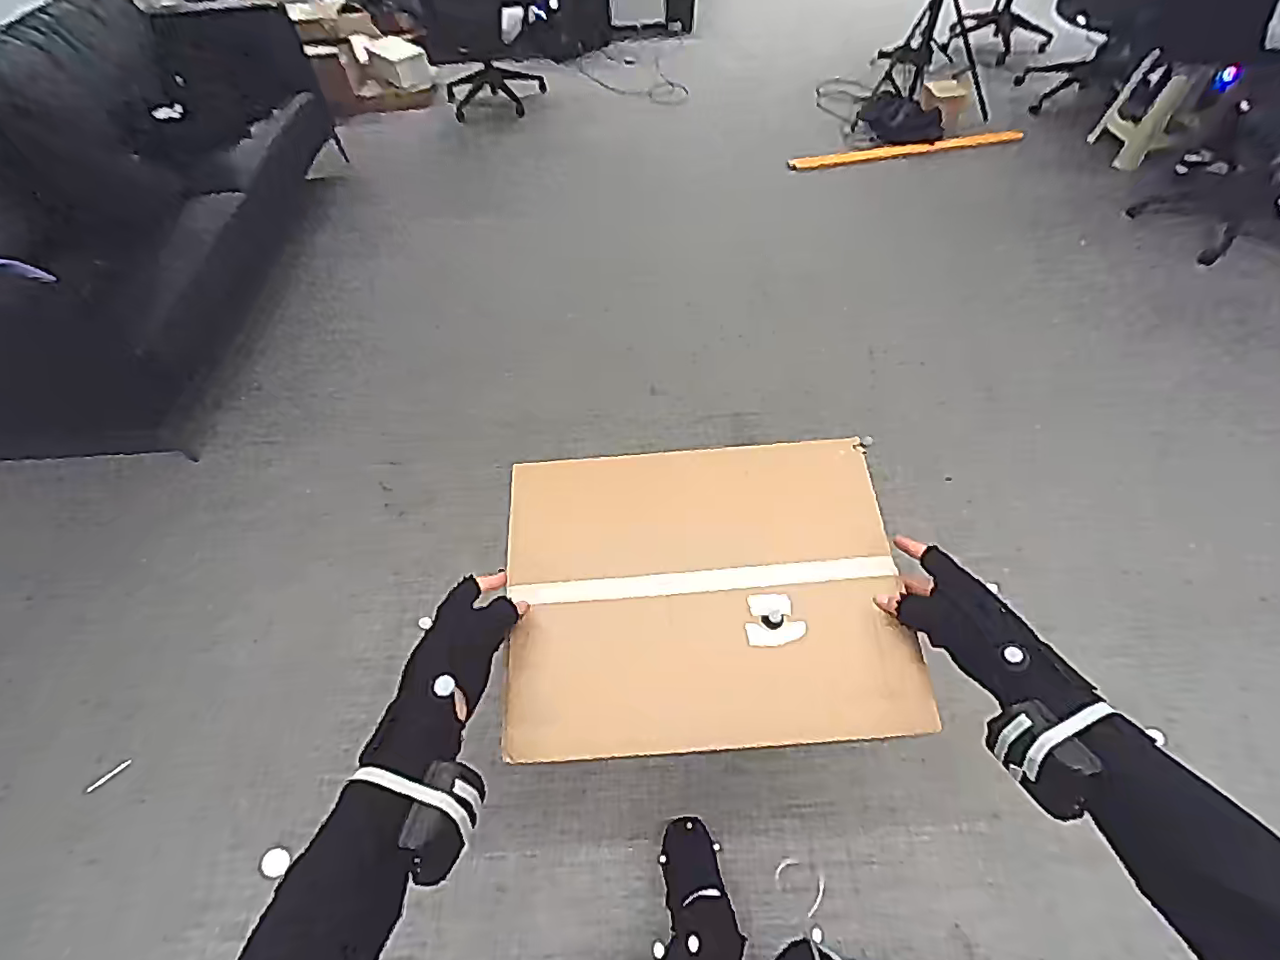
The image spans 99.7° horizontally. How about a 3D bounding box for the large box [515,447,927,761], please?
[{"bbox_3d":[0.071,0.180,0.711,0.408,0.320,0.320,-4,63,0],"label":"large box"}]
